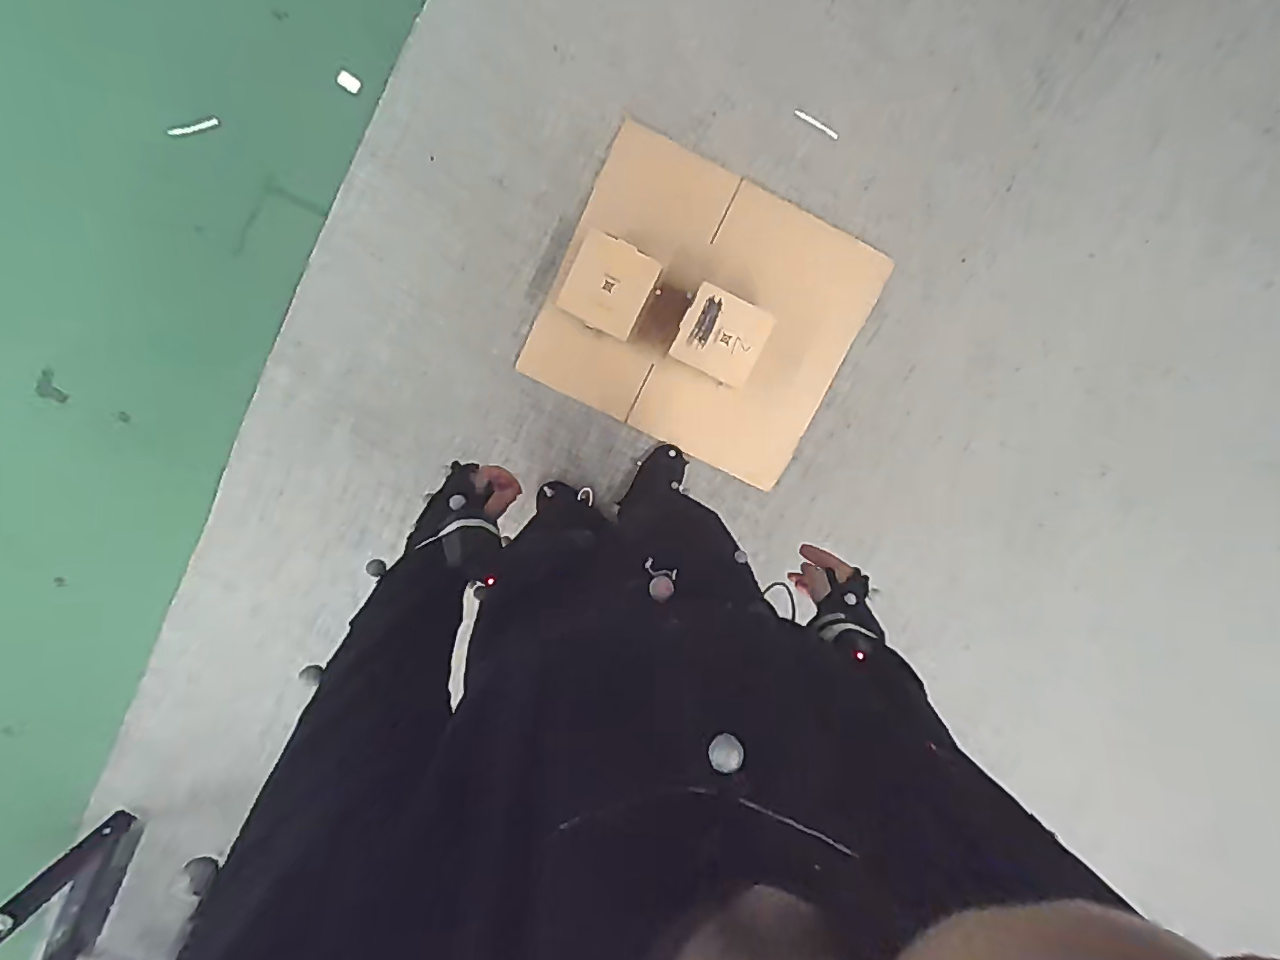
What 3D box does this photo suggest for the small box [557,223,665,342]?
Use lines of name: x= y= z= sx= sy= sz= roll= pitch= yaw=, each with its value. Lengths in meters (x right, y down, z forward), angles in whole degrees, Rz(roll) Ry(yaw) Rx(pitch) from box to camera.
small box: x=-0.060 y=-0.416 z=1.169 sx=0.168 sy=0.176 sz=0.179 roll=27 pitch=101 yaw=-3
